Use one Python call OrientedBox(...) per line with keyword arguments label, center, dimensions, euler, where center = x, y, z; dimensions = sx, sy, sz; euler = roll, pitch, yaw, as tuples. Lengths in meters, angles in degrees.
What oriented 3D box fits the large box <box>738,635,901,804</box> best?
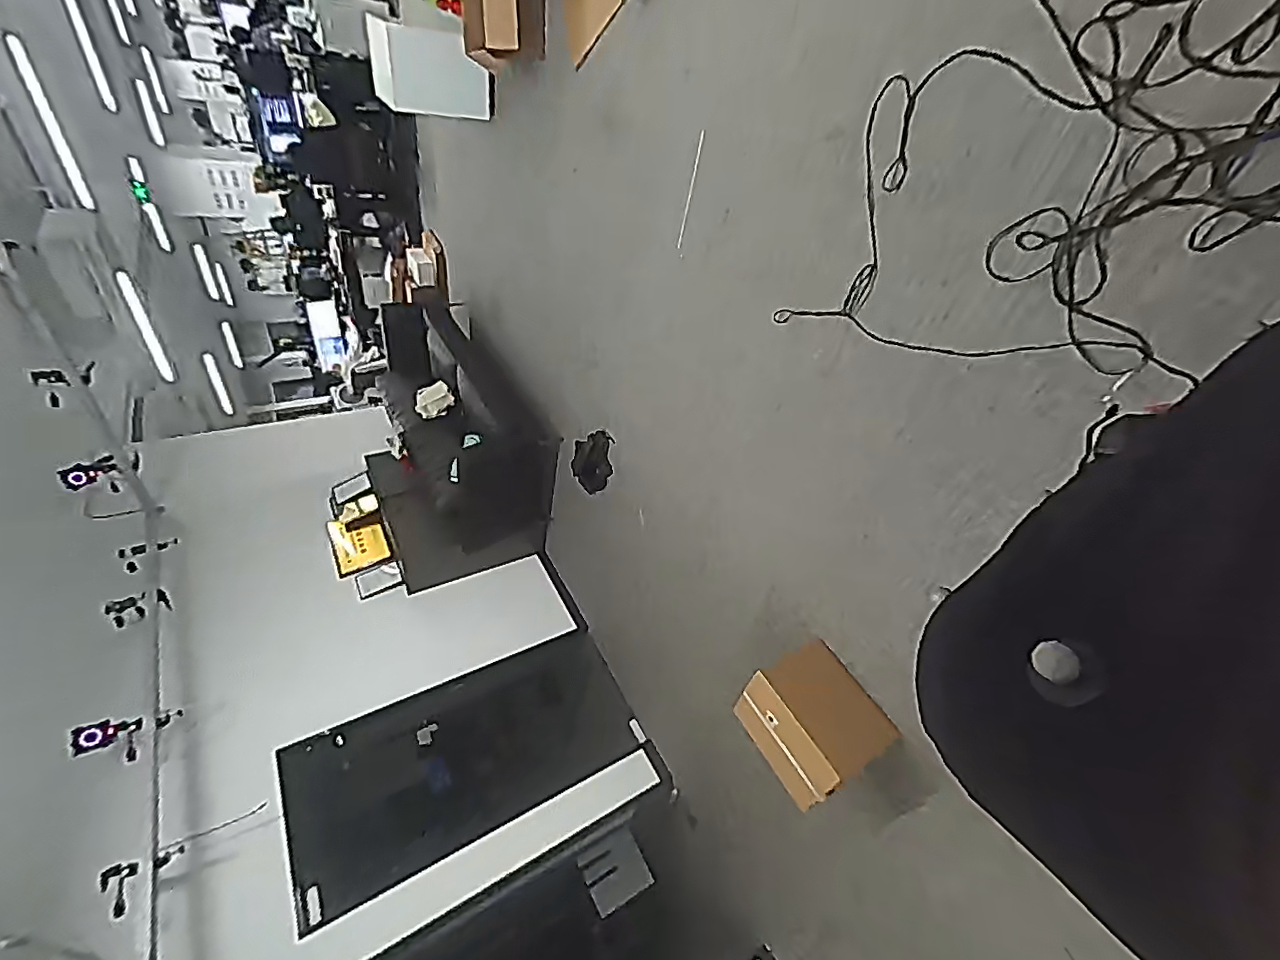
OrientedBox(label="large box", center=(0.624, 0.841, 1.929), dimensions=(0.408, 0.320, 0.320), euler=(53, 144, 36))
